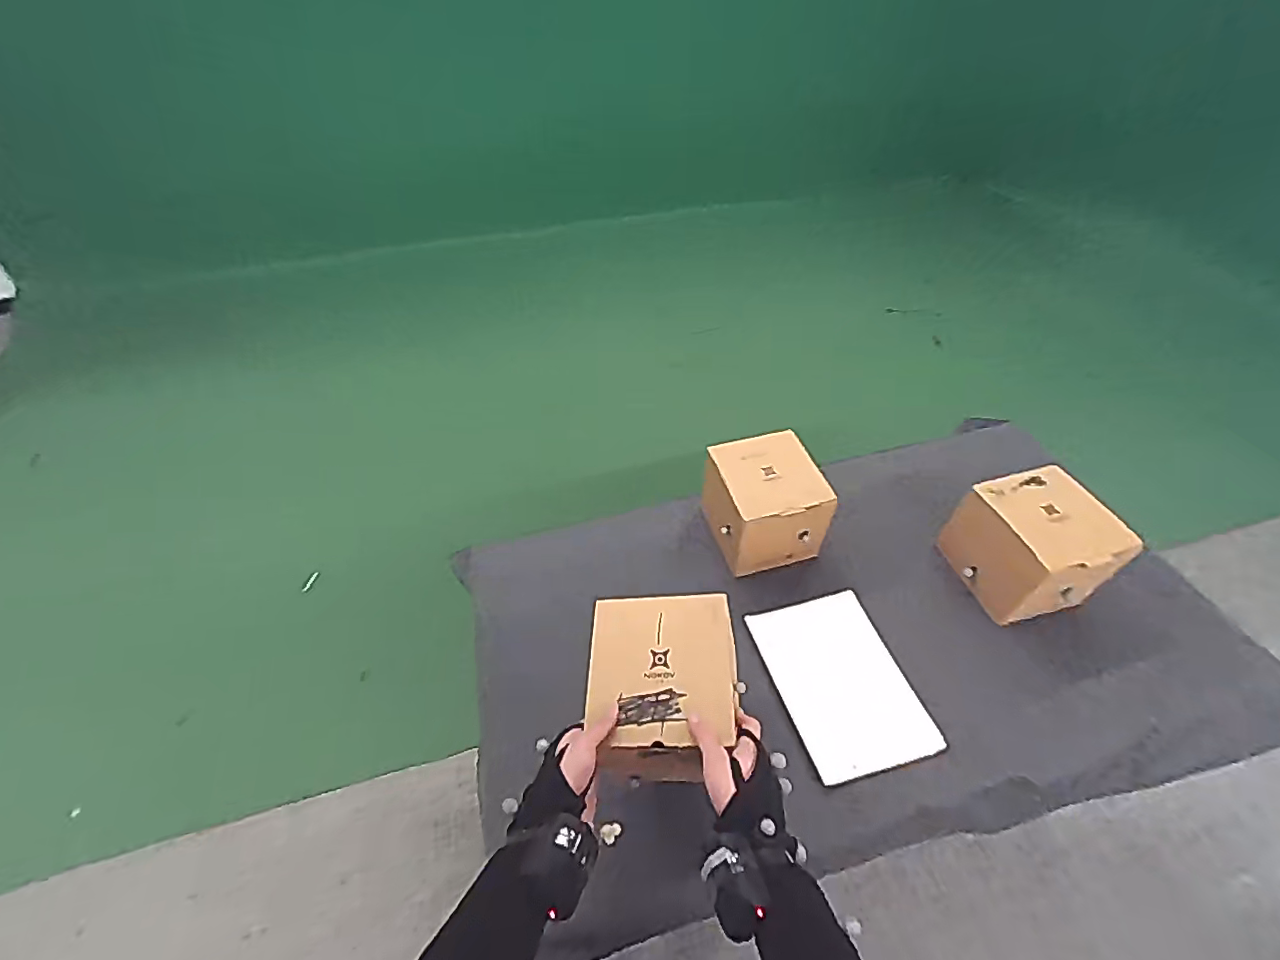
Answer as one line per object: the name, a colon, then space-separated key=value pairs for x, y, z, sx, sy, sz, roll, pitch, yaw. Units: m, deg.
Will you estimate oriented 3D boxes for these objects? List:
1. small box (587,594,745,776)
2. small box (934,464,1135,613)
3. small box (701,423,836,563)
small box: x=0.042 y=0.262 z=0.678 sx=0.168 sy=0.176 sz=0.179 roll=-5 pitch=51 yaw=10
small box: x=0.638 y=0.105 z=0.902 sx=0.168 sy=0.176 sz=0.179 roll=-12 pitch=51 yaw=-9
small box: x=0.217 y=0.030 z=0.963 sx=0.168 sy=0.176 sz=0.179 roll=-13 pitch=49 yaw=-11
